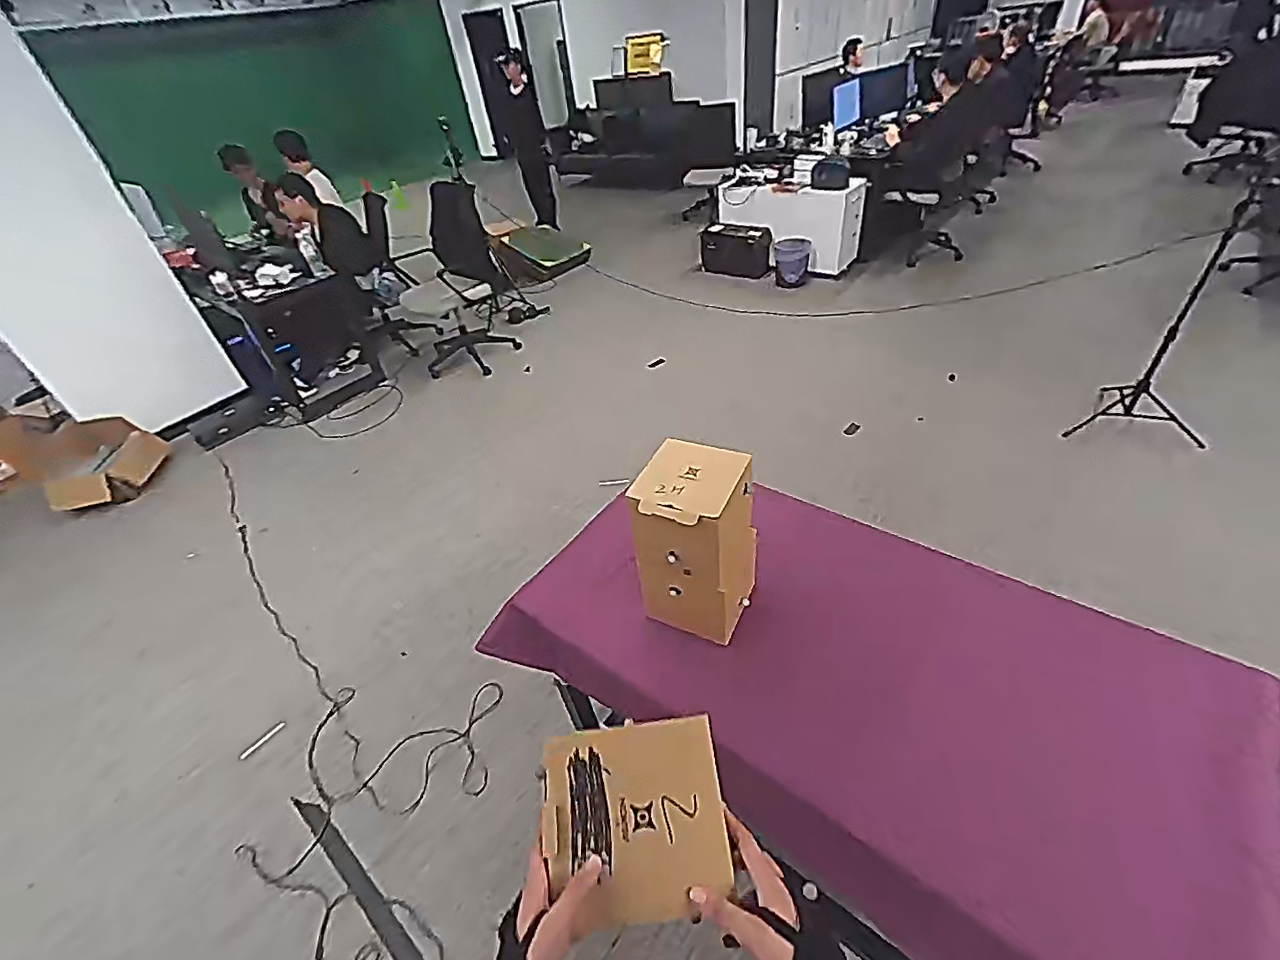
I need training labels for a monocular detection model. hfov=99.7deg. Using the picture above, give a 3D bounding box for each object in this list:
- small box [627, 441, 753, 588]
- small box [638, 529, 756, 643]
[{"bbox_3d":[0.094,0.058,0.964,0.168,0.176,0.179,14,45,24],"label":"small box"},{"bbox_3d":[0.116,0.189,1.063,0.179,0.176,0.168,15,46,24],"label":"small box"}]
